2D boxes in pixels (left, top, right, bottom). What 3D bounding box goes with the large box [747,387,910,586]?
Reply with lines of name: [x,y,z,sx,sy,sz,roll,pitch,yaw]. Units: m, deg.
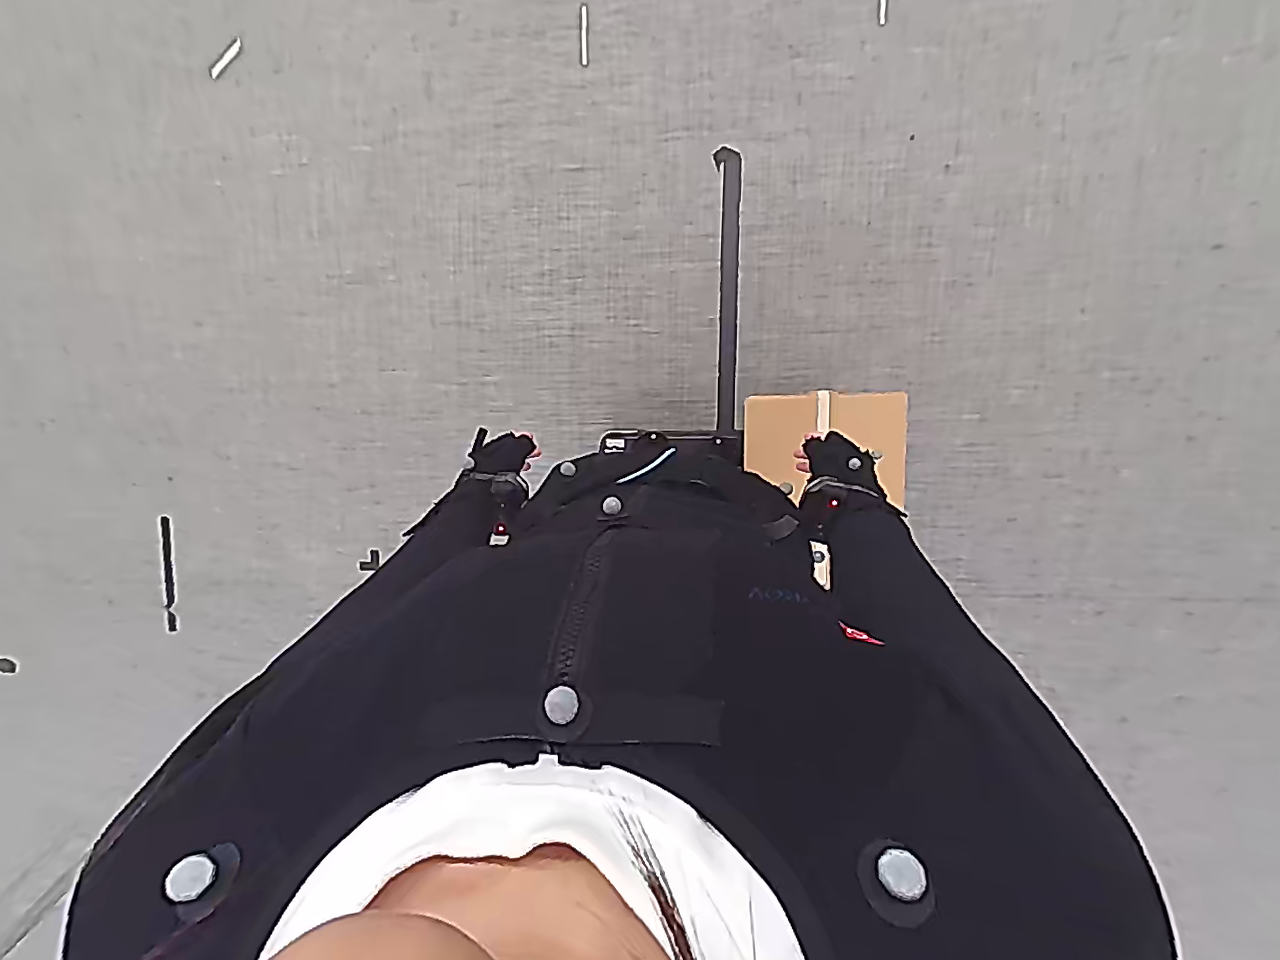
large box: [0.409,-0.003,1.246,0.320,0.320,0.408,1,98,13]
